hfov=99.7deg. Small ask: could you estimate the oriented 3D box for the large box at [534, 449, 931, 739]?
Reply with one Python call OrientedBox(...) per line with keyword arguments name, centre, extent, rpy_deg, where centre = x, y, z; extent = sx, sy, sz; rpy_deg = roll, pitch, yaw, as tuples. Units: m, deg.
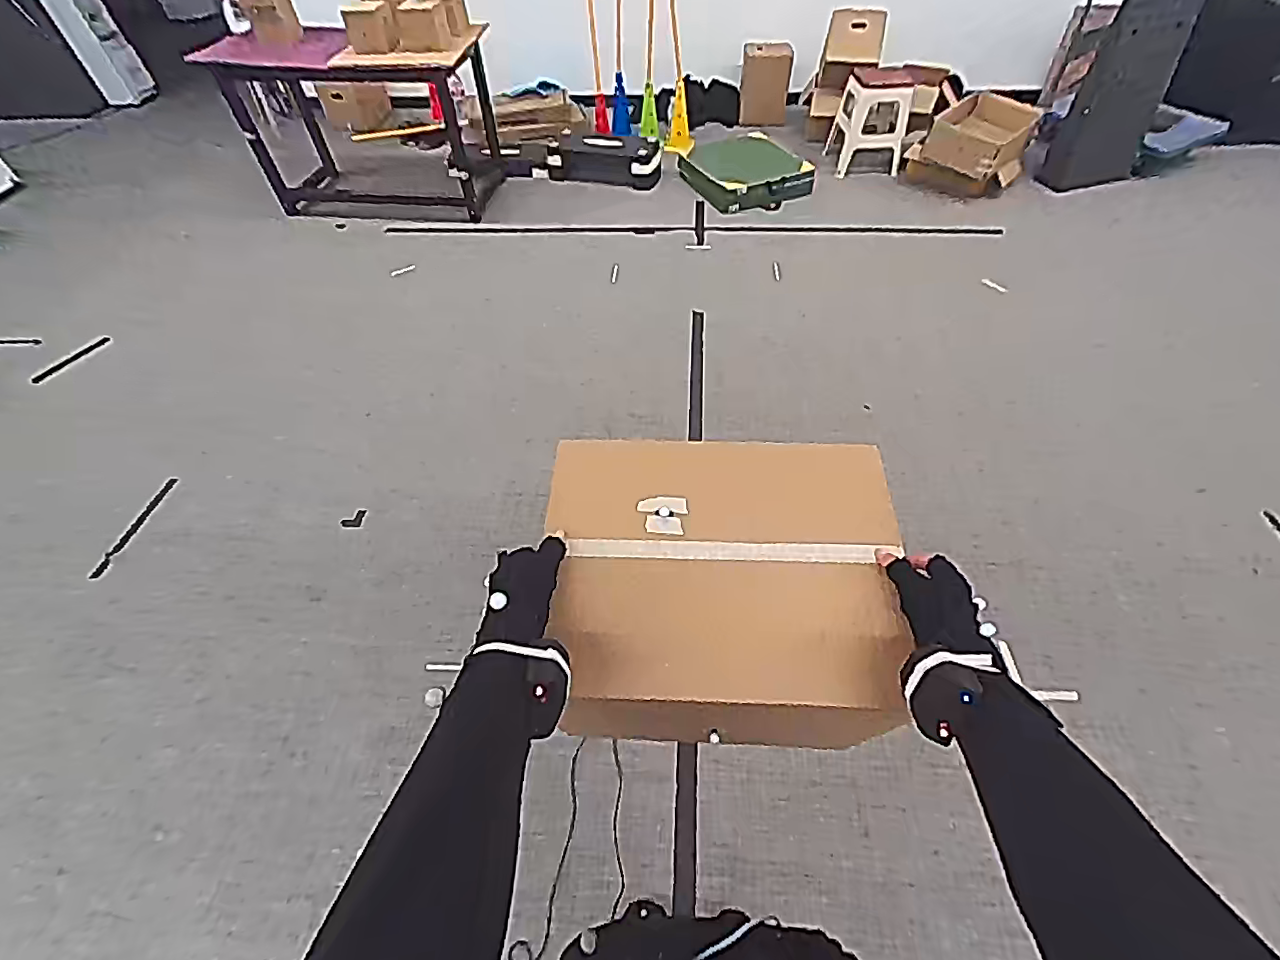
OrientedBox(name="large box", centre=(0.101, 0.169, 0.742), extent=(0.408, 0.320, 0.320), rpy_deg=(1, 57, 3))
